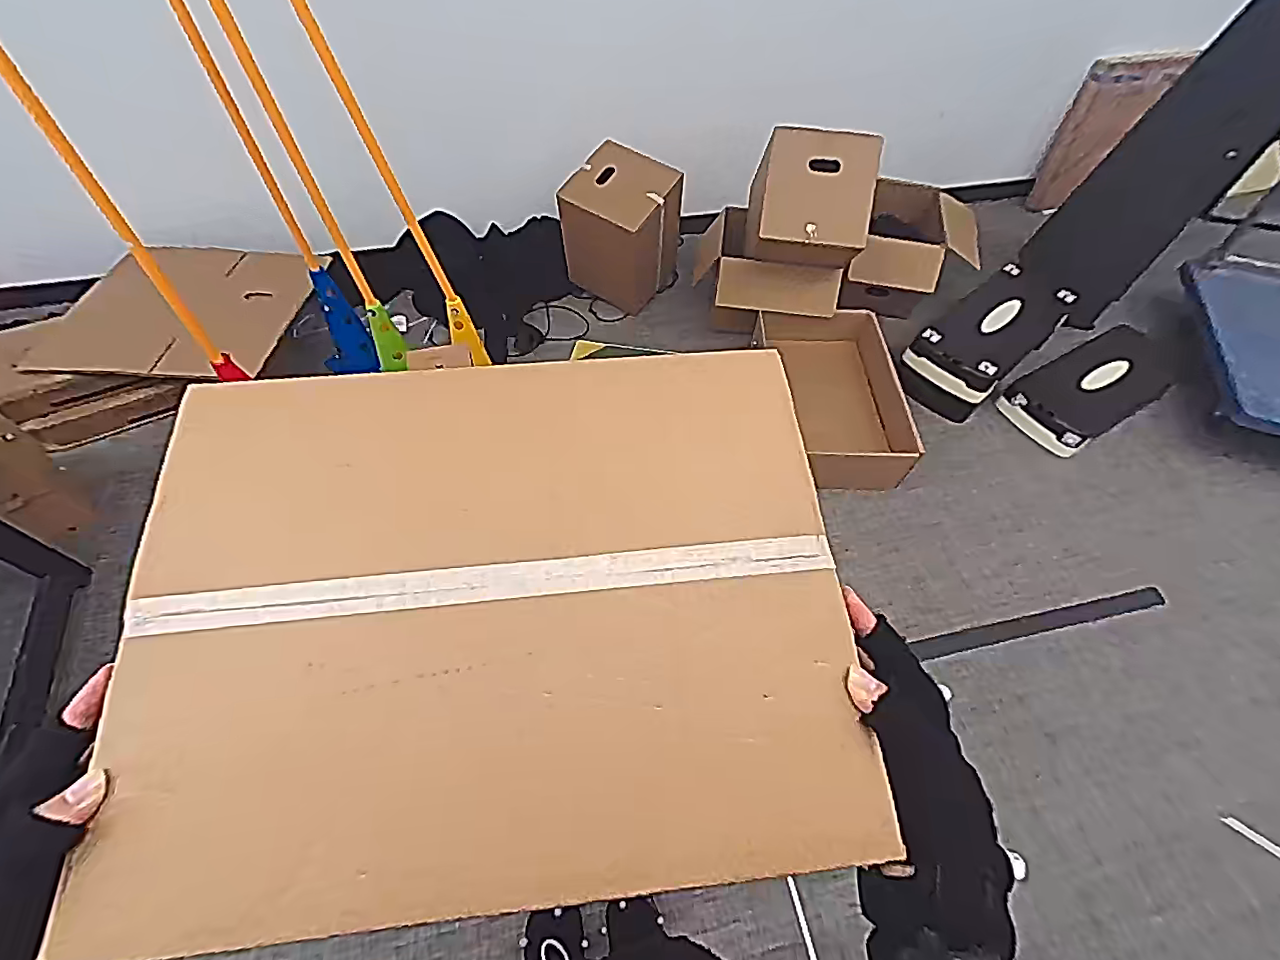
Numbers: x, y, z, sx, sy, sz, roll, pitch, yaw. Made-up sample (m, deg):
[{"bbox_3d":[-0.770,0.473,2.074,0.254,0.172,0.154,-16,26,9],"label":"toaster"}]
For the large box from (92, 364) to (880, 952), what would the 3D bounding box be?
[{"bbox_3d":[-0.089,0.129,0.467,0.408,0.320,0.320,-4,67,-4],"label":"large box"}]
